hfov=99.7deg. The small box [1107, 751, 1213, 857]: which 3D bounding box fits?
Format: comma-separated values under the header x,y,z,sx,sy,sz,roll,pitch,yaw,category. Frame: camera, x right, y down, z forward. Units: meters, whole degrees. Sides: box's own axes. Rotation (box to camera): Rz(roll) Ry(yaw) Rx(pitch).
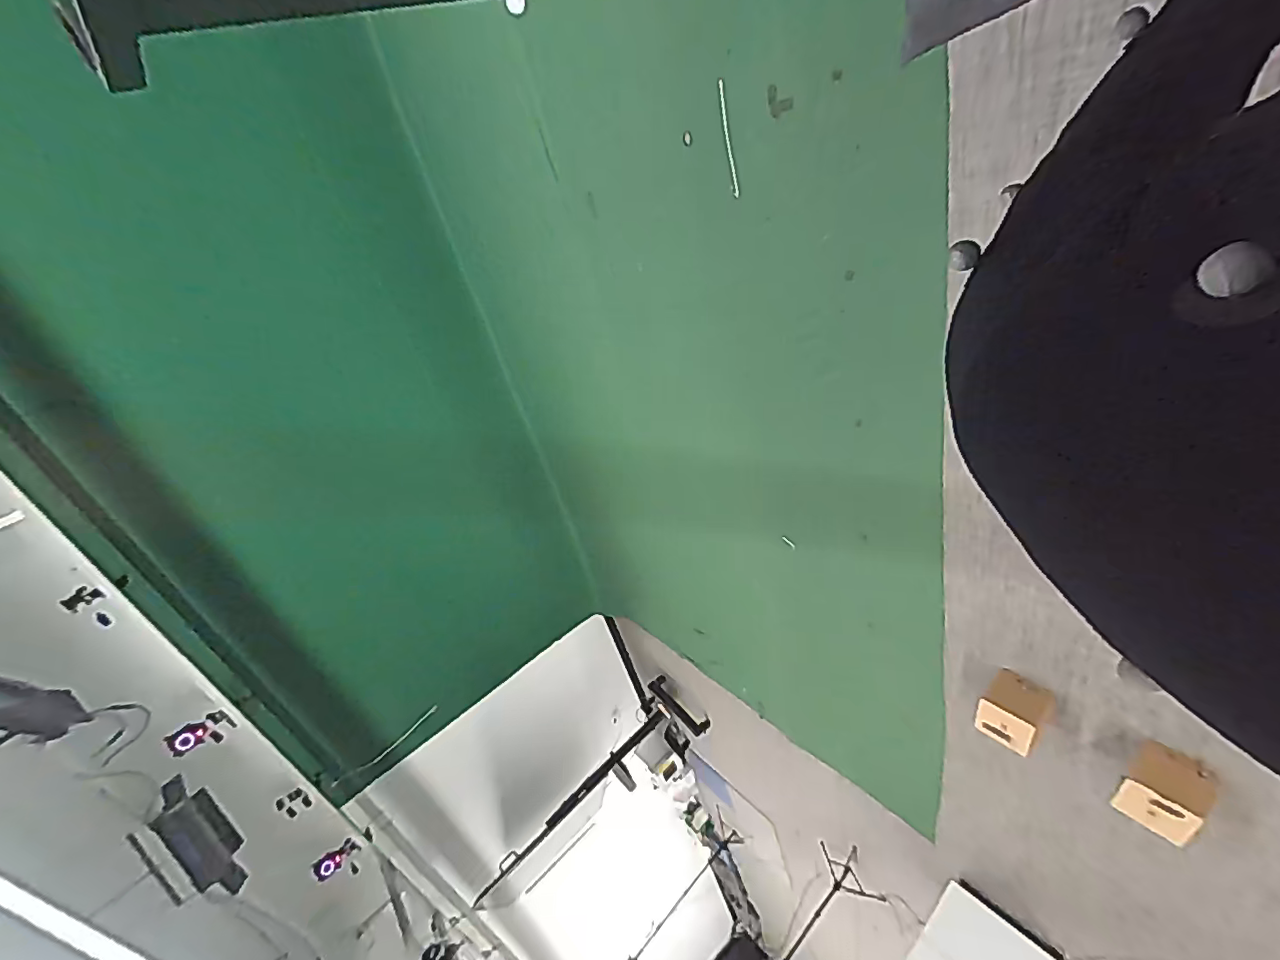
x,y,z,sx,sy,sz,roll,pitch,yaw,category
1.512,0.935,1.573,0.168,0.176,0.179,29,142,44,small box
